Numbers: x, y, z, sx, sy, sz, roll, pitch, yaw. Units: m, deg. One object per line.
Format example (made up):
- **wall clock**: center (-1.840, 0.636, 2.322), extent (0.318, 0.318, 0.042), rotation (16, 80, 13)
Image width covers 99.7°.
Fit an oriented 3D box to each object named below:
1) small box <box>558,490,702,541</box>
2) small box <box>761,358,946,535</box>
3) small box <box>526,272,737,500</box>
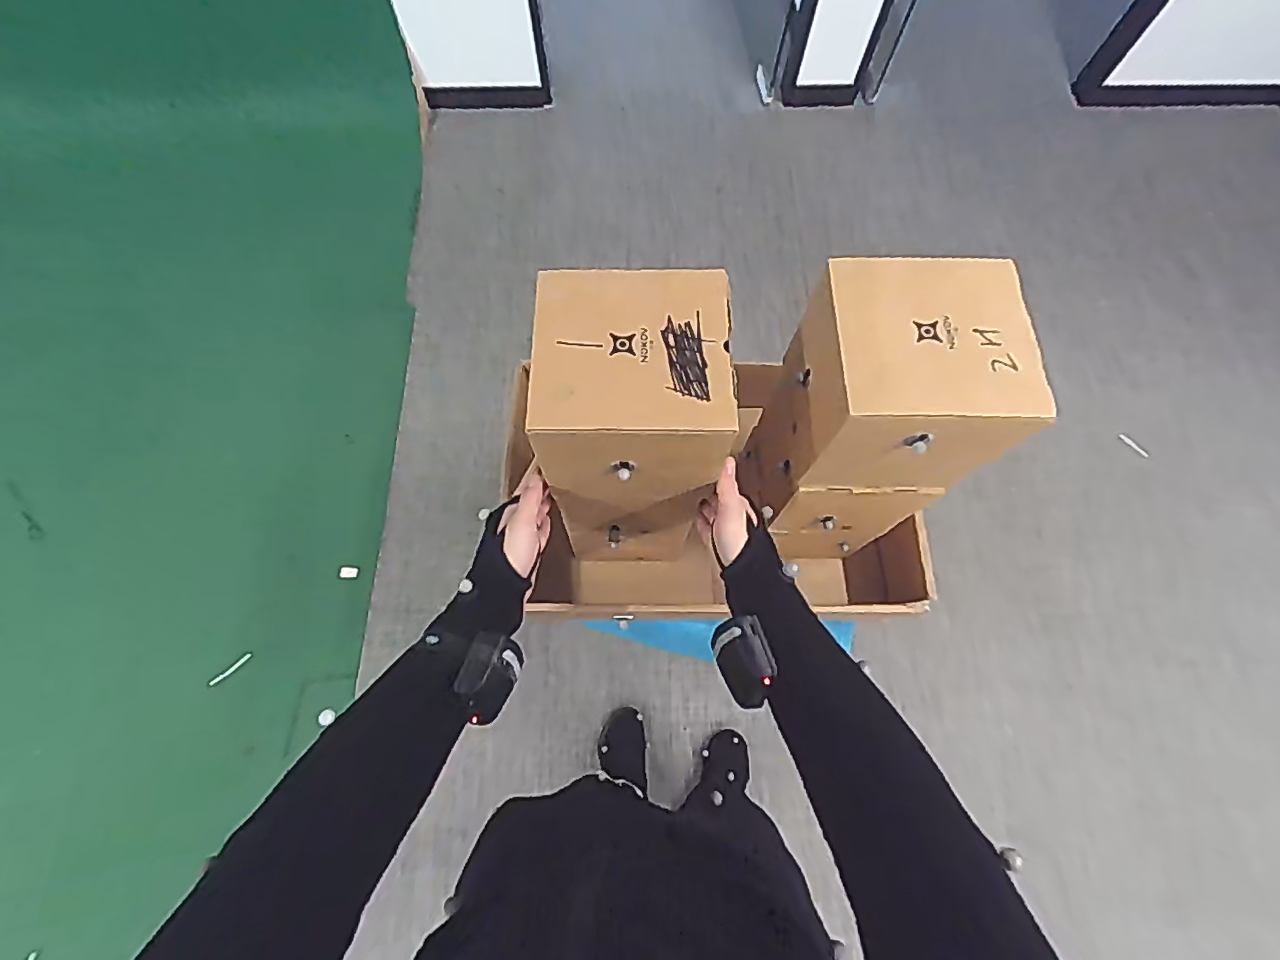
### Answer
- **small box**: center (-0.013, -0.030, 0.697), extent (0.168, 0.176, 0.179), rotation (1, 69, 0)
- **small box**: center (0.258, -0.037, 0.701), extent (0.168, 0.176, 0.179), rotation (1, 69, 0)
- **small box**: center (-0.007, -0.084, 0.543), extent (0.179, 0.176, 0.168), rotation (0, 68, 0)
